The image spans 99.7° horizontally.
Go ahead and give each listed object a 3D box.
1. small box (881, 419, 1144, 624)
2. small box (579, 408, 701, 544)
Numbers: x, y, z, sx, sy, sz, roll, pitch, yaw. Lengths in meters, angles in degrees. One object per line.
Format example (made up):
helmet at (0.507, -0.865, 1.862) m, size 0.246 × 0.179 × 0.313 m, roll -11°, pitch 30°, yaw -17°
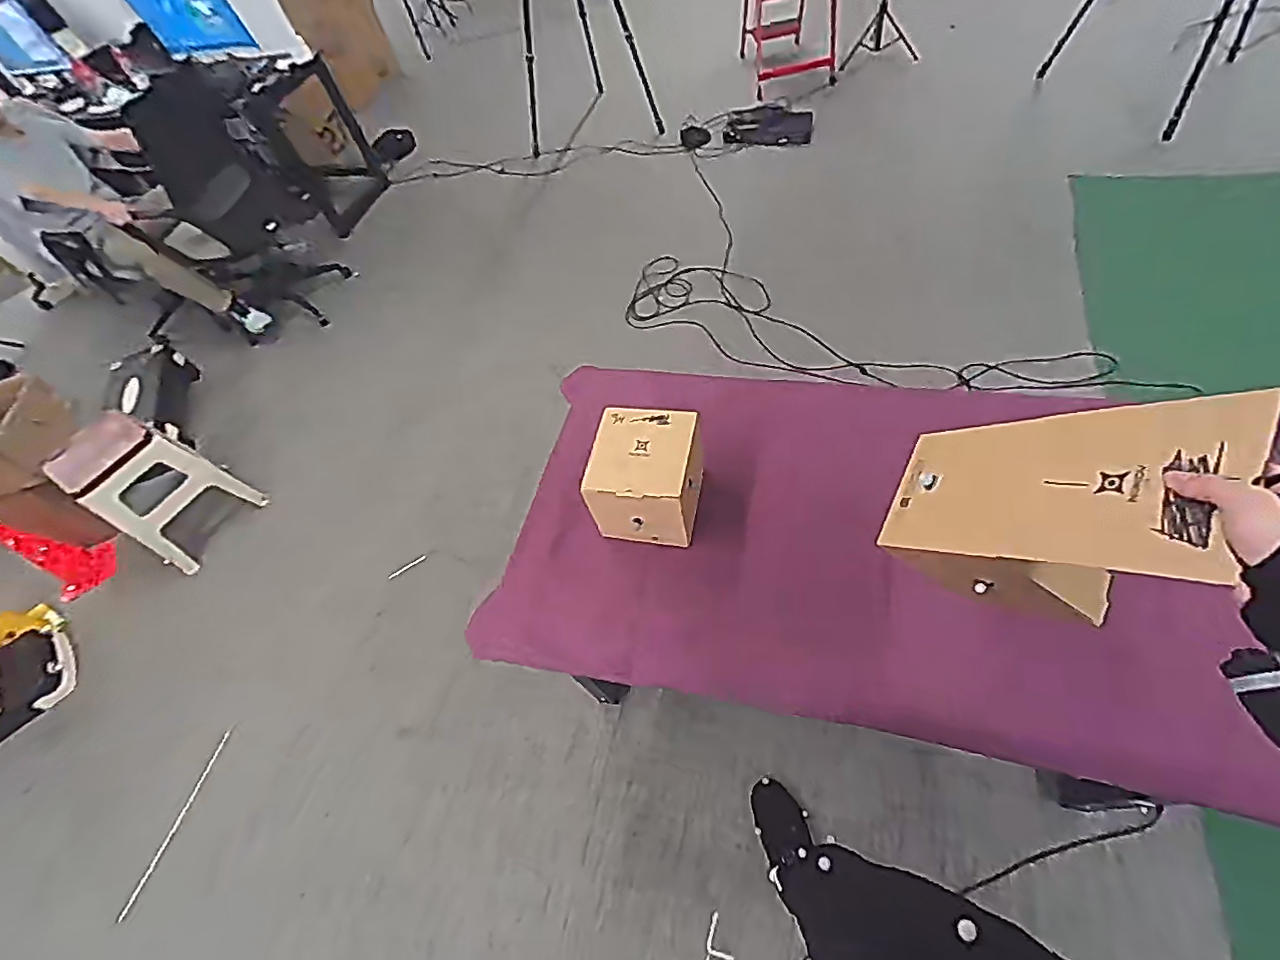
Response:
small box at (0.435, 0.047, 0.650) m, size 0.179 × 0.176 × 0.168 m, roll 30°, pitch 79°, yaw -14°
small box at (0.012, -0.003, 0.948) m, size 0.168 × 0.176 × 0.179 m, roll 6°, pitch 59°, yaw 14°
